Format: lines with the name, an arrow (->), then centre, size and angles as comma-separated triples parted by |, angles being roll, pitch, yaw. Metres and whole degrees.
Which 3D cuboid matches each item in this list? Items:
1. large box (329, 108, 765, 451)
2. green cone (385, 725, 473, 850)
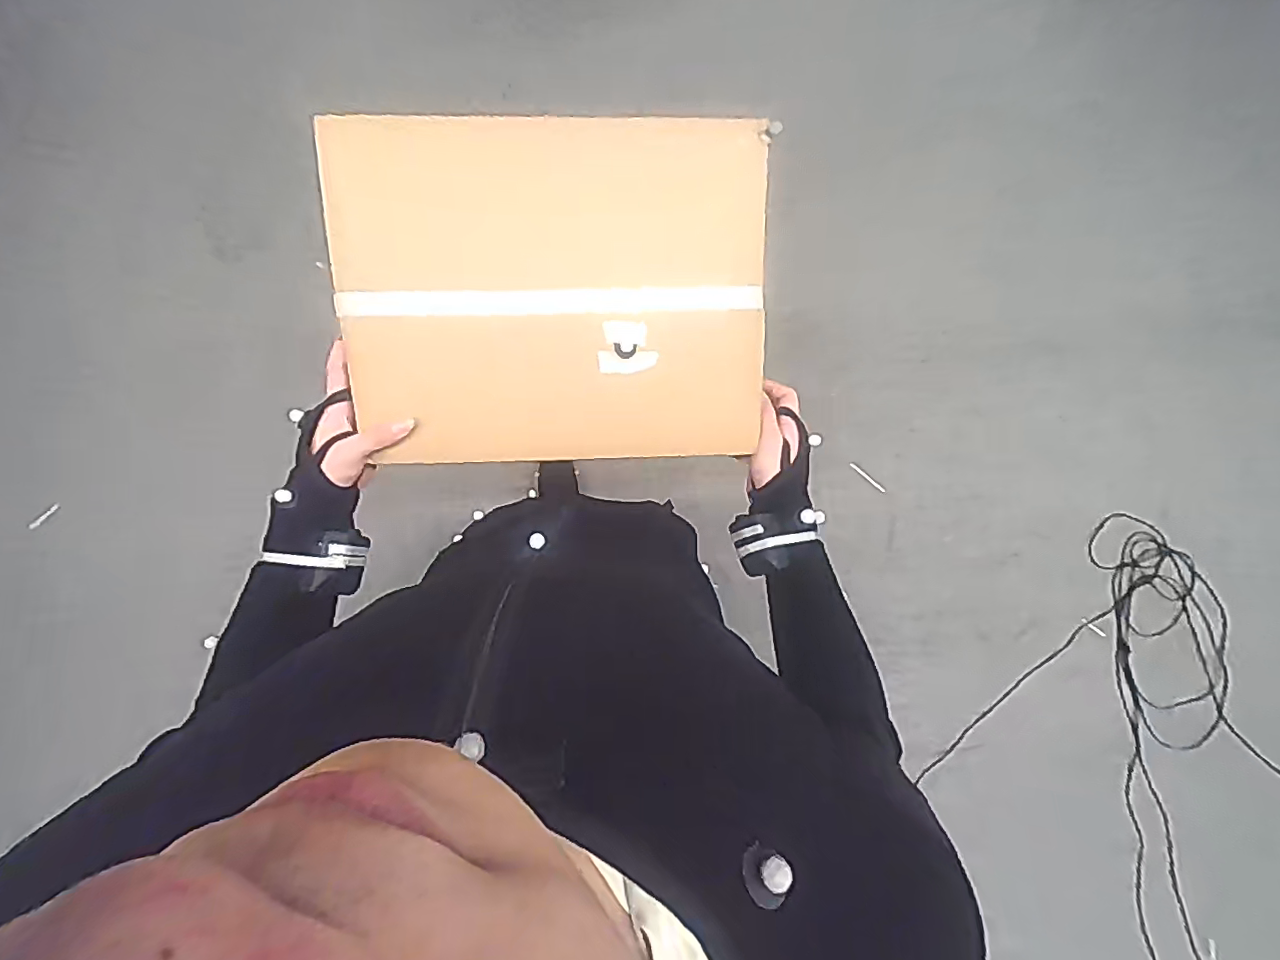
large box -> -0.088, -0.222, 0.670 | 0.408, 0.320, 0.320 | -2, 105, -4
green cone -> -0.579, 0.819, 1.409 | 0.200, 0.368, 0.202 | 1, 90, -4
